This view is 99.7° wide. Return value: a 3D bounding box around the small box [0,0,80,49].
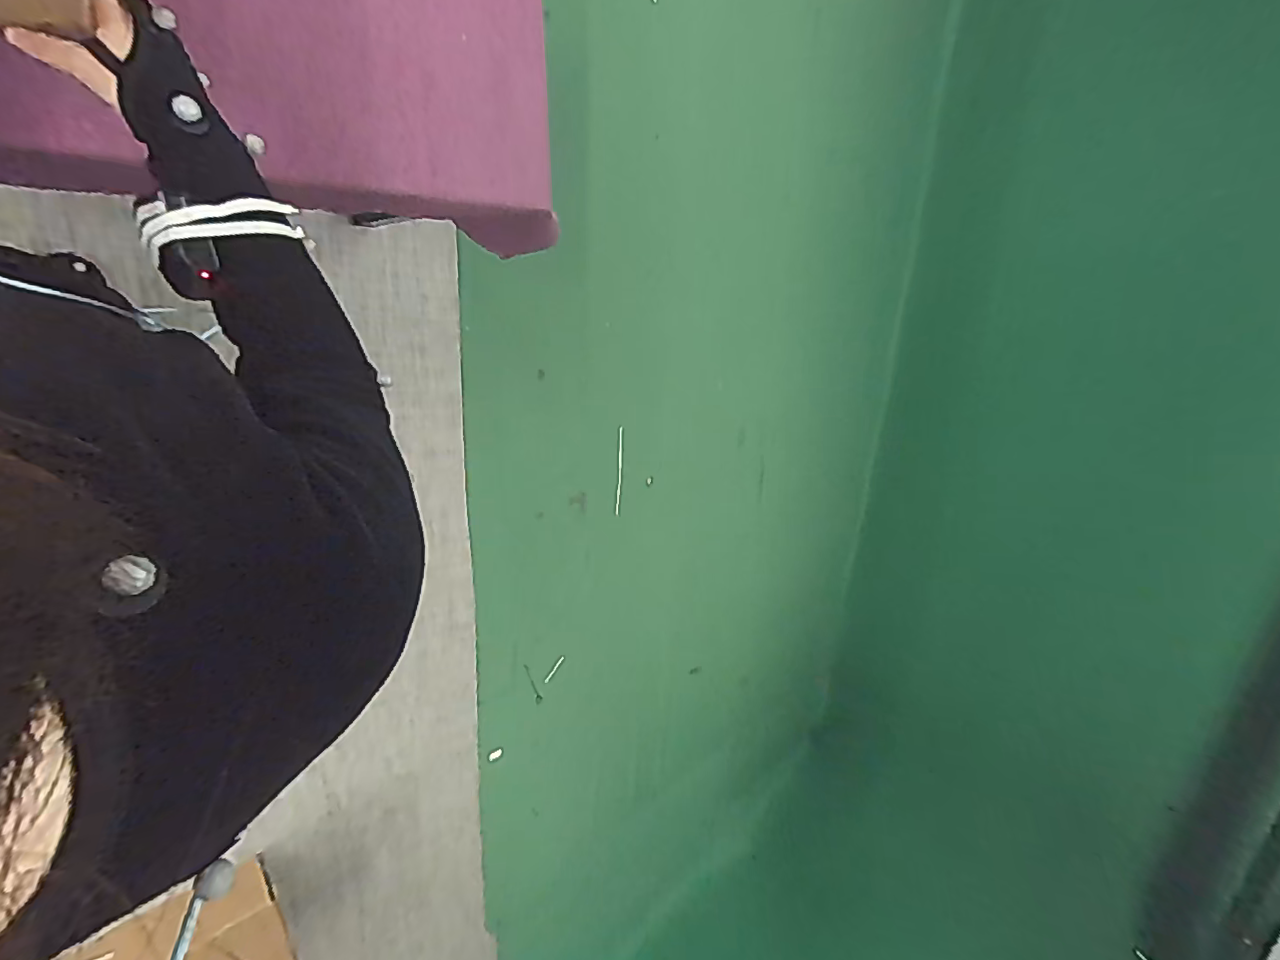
[{"bbox_3d":[-0.408,-0.356,0.260,0.168,0.176,0.179,-14,116,-42],"label":"small box"}]
